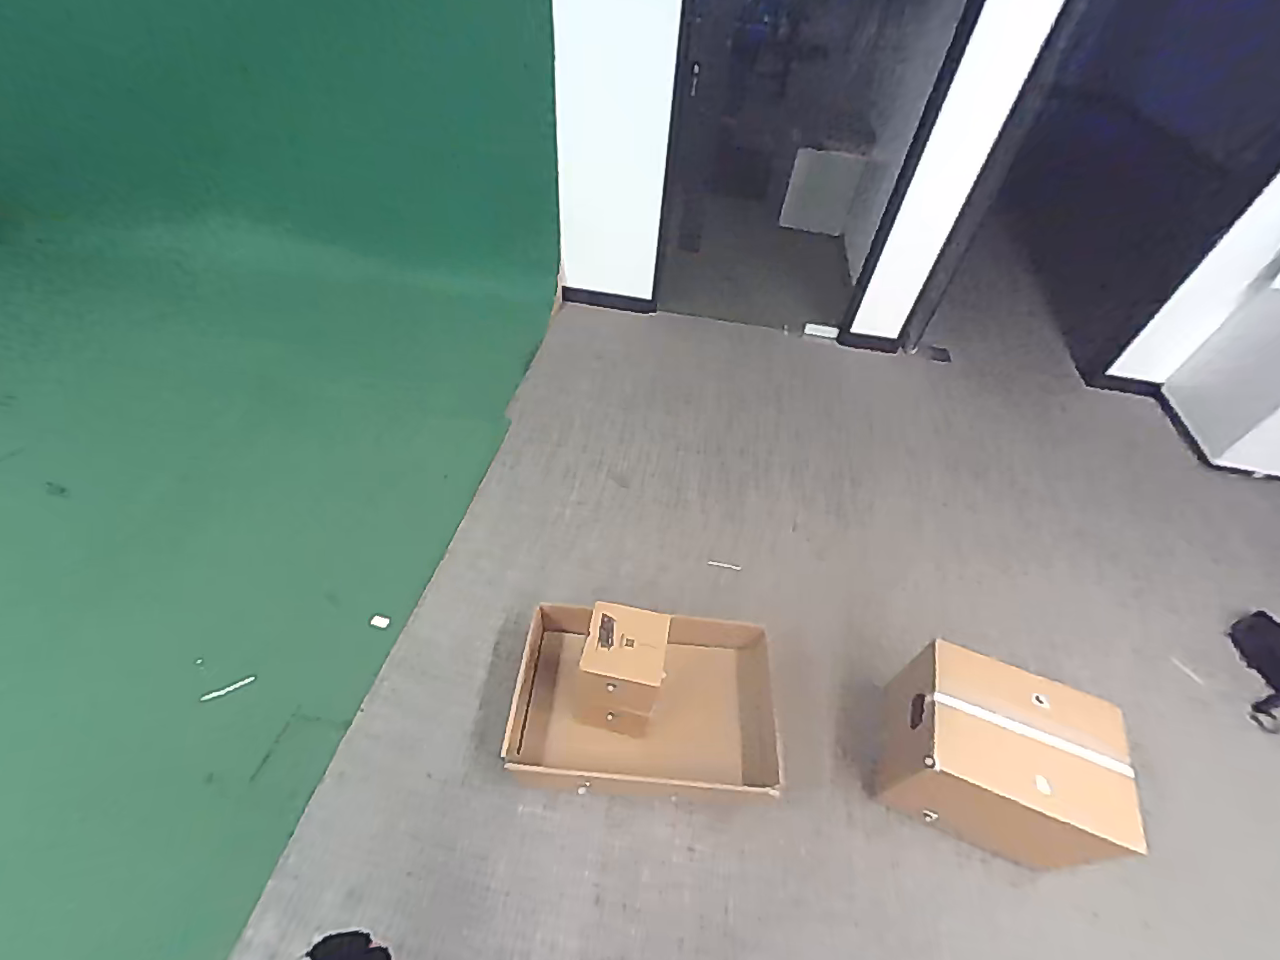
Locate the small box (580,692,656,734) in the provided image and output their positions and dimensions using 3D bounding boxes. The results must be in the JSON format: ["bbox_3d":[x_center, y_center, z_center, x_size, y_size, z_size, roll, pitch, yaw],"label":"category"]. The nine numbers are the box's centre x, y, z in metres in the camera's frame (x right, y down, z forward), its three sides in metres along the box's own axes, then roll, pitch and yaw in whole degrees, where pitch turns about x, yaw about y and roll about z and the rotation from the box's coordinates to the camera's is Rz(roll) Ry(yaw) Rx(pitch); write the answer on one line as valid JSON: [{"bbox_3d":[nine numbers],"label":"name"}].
[{"bbox_3d":[-0.048,0.512,1.346,0.179,0.176,0.168,13,48,2],"label":"small box"}]

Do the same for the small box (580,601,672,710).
[{"bbox_3d":[-0.034,0.402,1.225,0.179,0.176,0.168,12,48,2],"label":"small box"}]
